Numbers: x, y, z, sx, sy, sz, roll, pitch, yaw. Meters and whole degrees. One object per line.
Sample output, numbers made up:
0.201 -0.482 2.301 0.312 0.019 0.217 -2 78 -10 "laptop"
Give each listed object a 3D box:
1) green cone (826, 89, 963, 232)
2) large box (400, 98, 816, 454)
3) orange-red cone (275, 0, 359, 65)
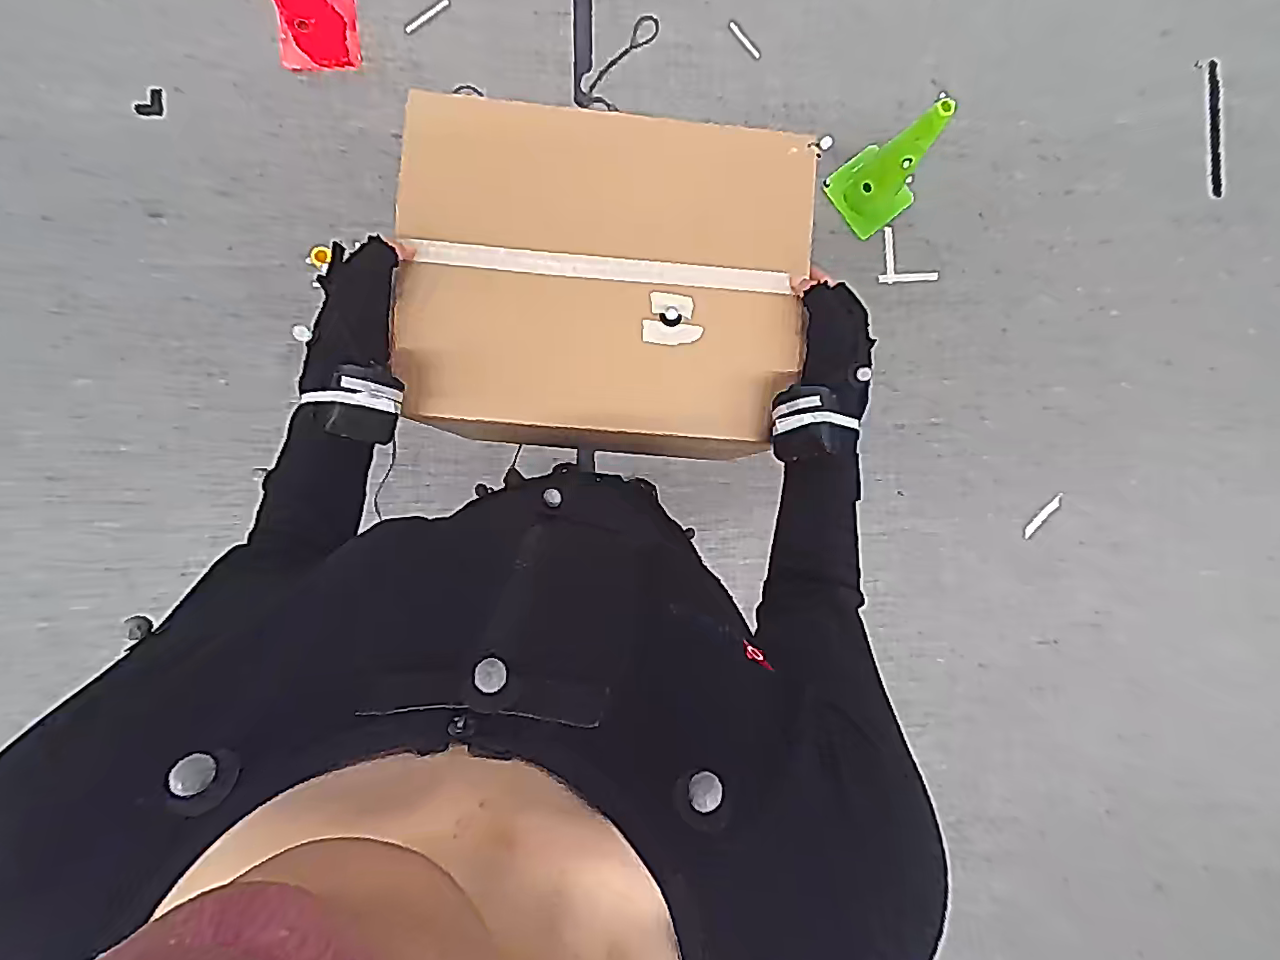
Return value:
0.656 -0.816 1.335 0.202 0.368 0.200 -39 94 -4 "green cone"
-0.038 -0.206 0.682 0.408 0.320 0.320 4 89 -4 "large box"
-0.834 -1.184 1.246 0.198 0.360 0.199 -4 92 -2 "orange-red cone"
